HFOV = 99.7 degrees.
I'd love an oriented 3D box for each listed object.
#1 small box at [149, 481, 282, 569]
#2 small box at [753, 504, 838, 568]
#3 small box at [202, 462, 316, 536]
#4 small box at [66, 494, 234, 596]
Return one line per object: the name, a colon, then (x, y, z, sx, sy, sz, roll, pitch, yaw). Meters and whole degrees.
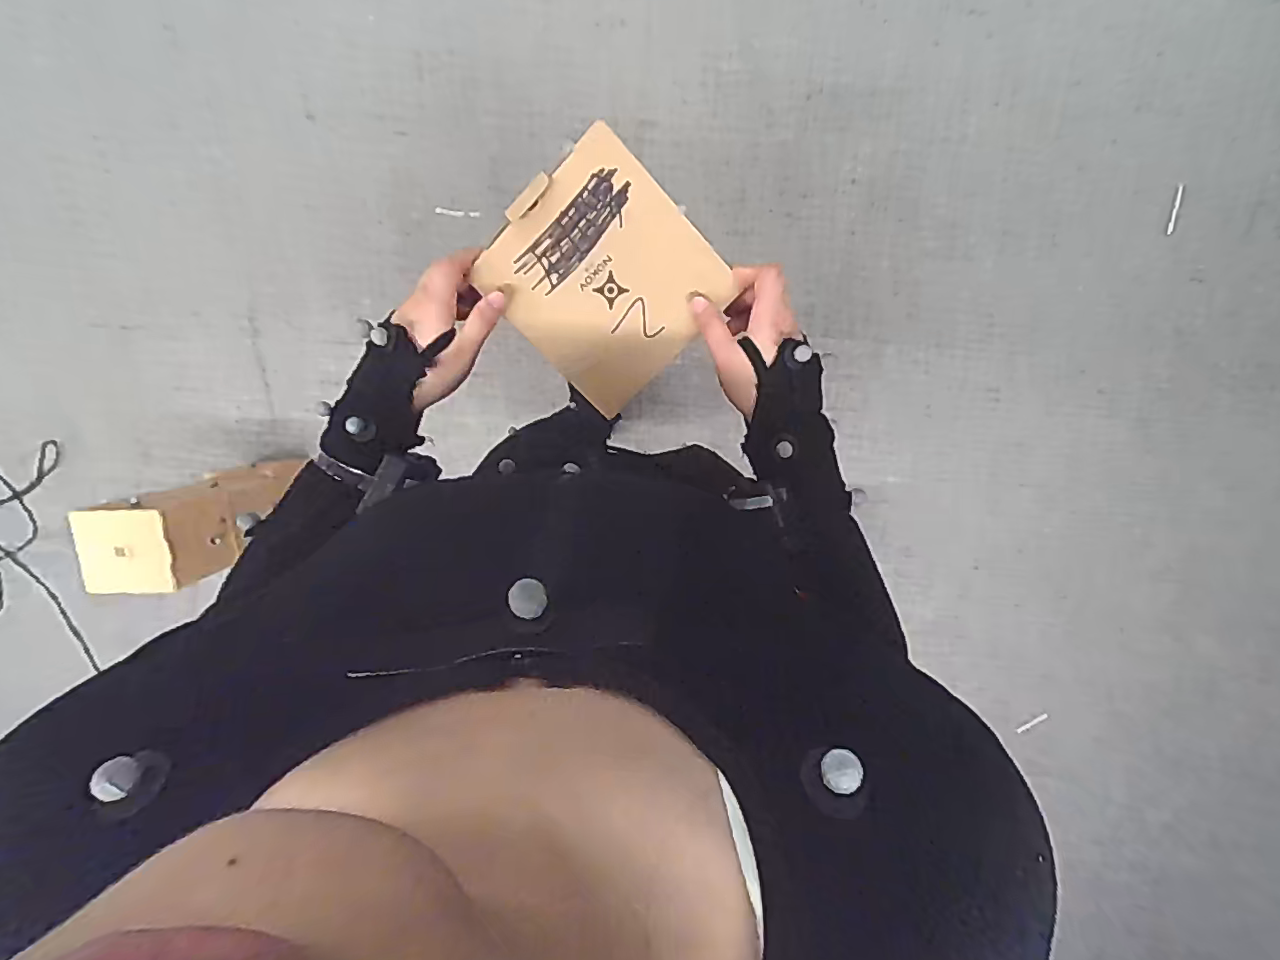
small box: (-0.979, 0.099, 1.255, 0.179, 0.176, 0.168, 0, 102, 0)
small box: (0.398, 0.166, 1.415, 0.168, 0.176, 0.179, 5, 101, 0)
small box: (-0.980, 0.049, 1.412, 0.179, 0.176, 0.168, -4, 101, 2)
small box: (-0.977, 0.125, 1.095, 0.179, 0.176, 0.168, -1, 102, 0)
